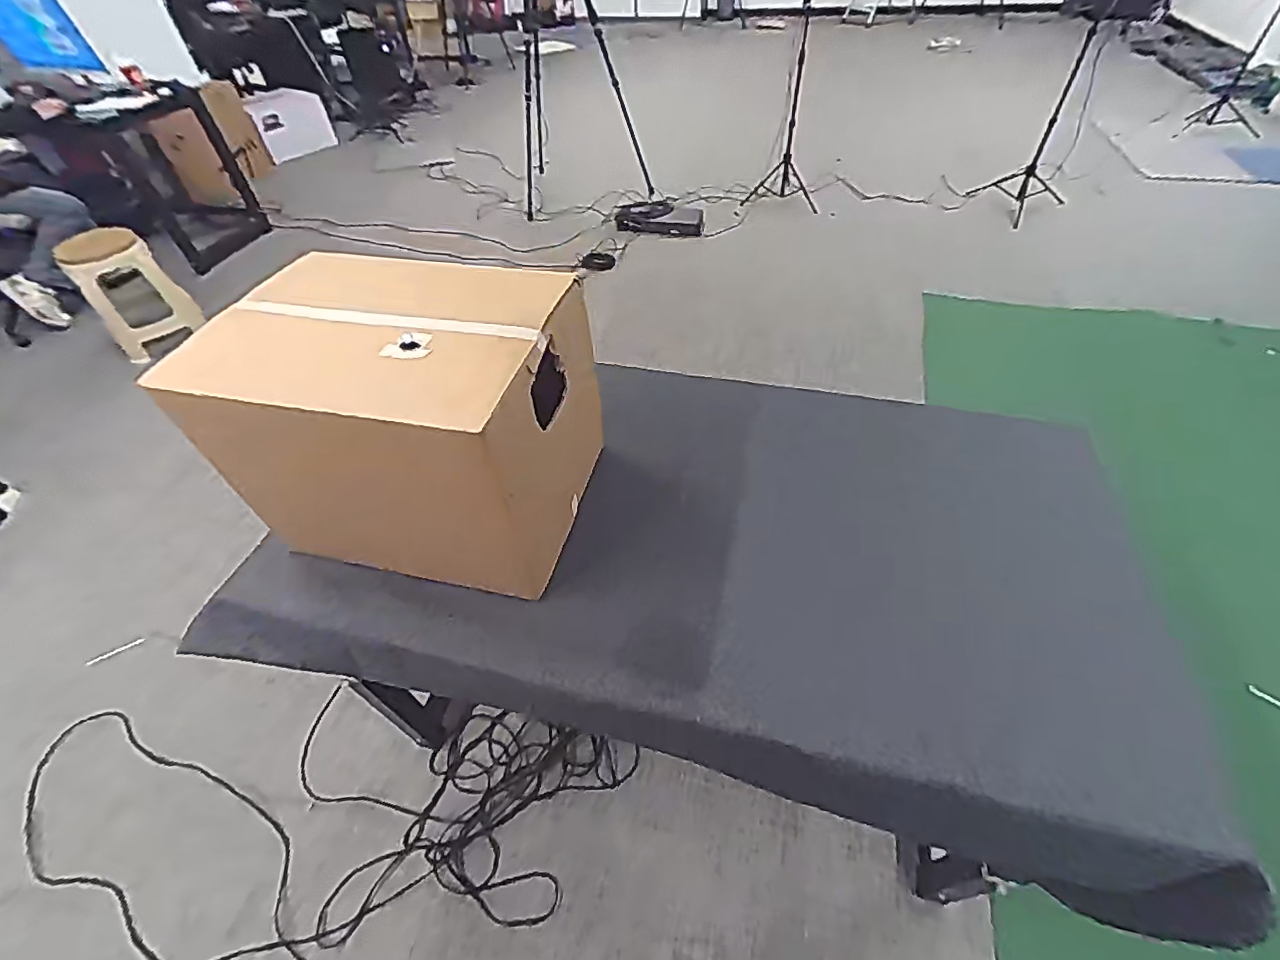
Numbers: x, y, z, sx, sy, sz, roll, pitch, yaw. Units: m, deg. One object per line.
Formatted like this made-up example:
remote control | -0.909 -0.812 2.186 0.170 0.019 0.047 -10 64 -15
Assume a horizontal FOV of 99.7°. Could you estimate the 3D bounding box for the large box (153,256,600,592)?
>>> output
large box | -0.294 -0.080 0.750 0.408 0.320 0.320 9 49 9
